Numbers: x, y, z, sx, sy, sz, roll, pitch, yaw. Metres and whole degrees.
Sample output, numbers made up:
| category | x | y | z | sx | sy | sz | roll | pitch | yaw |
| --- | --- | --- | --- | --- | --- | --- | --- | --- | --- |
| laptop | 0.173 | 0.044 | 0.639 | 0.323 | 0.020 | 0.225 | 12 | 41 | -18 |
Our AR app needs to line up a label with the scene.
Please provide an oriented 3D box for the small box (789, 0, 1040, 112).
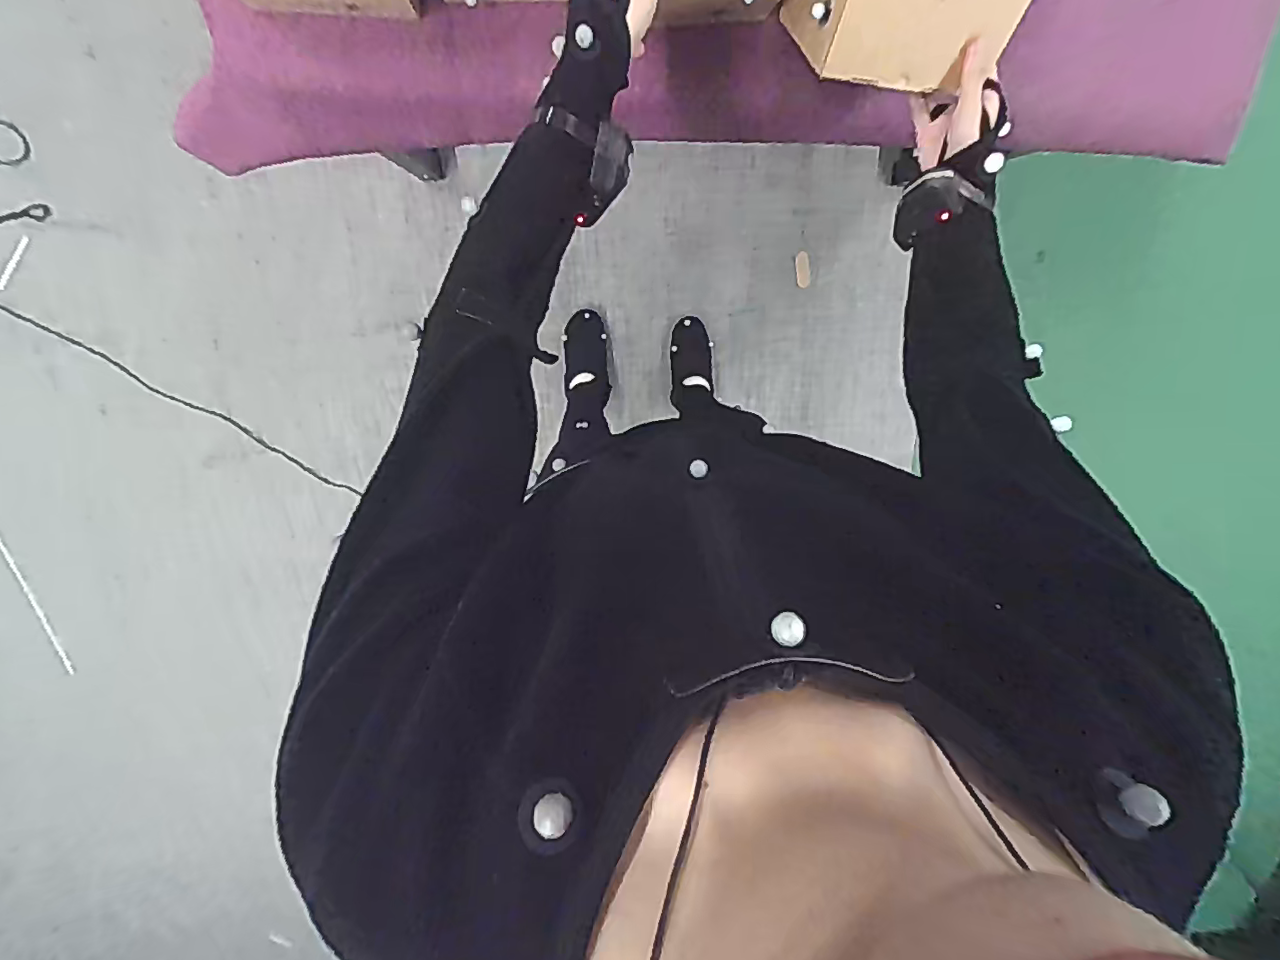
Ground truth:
| category | x | y | z | sx | sy | sz | roll | pitch | yaw |
| --- | --- | --- | --- | --- | --- | --- | --- | --- | --- |
| small box | 0.252 | -0.475 | 0.490 | 0.168 | 0.176 | 0.179 | 0 | 147 | -8 |
